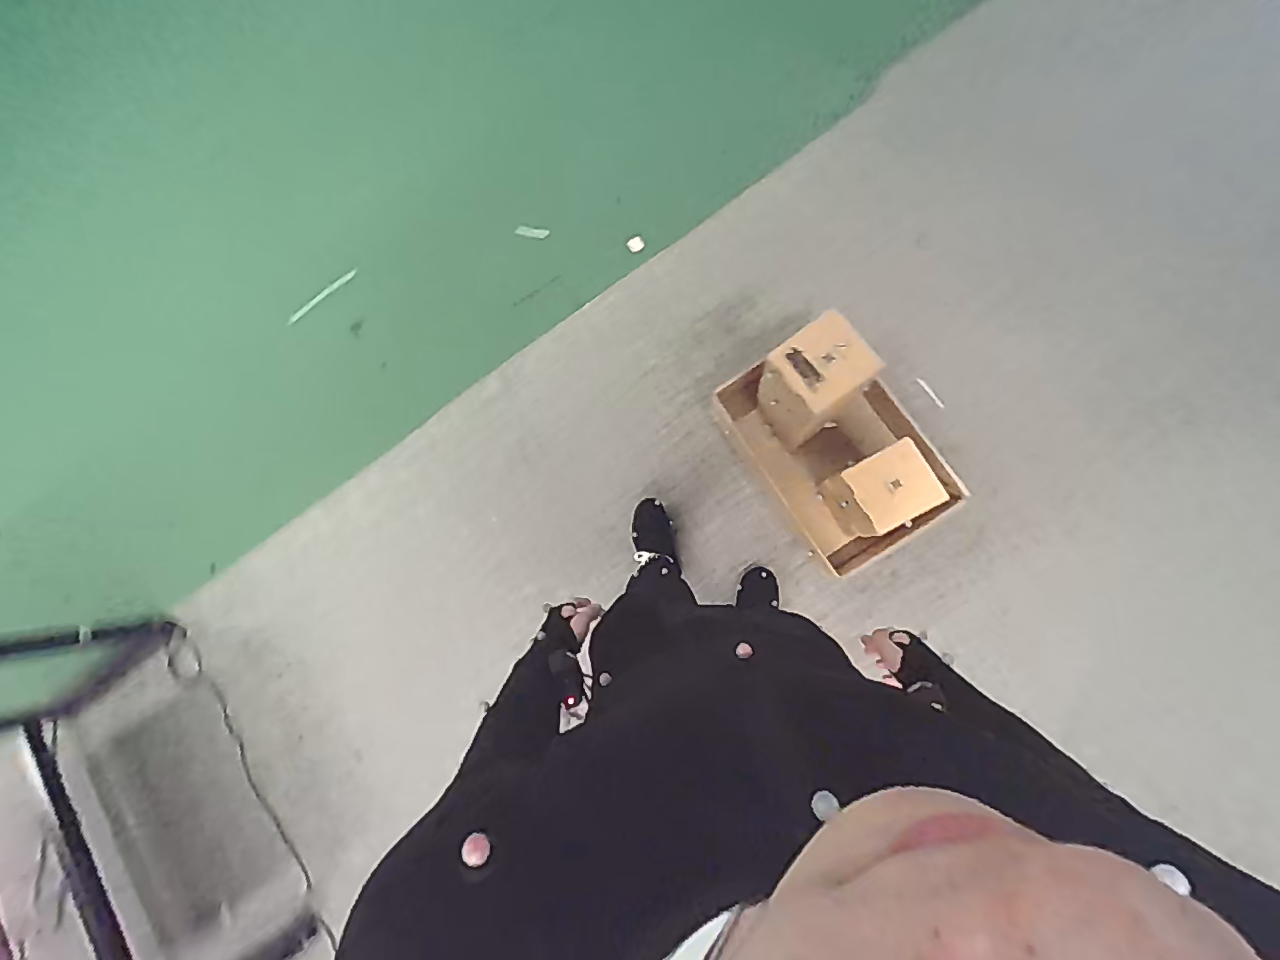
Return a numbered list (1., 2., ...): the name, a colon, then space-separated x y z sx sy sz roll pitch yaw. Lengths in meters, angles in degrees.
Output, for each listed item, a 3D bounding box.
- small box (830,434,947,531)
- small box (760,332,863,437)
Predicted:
1. small box: 0.587 0.010 1.303 0.179 0.176 0.168 -29 80 6
2. small box: 0.419 -0.232 1.356 0.179 0.176 0.168 -35 78 3
